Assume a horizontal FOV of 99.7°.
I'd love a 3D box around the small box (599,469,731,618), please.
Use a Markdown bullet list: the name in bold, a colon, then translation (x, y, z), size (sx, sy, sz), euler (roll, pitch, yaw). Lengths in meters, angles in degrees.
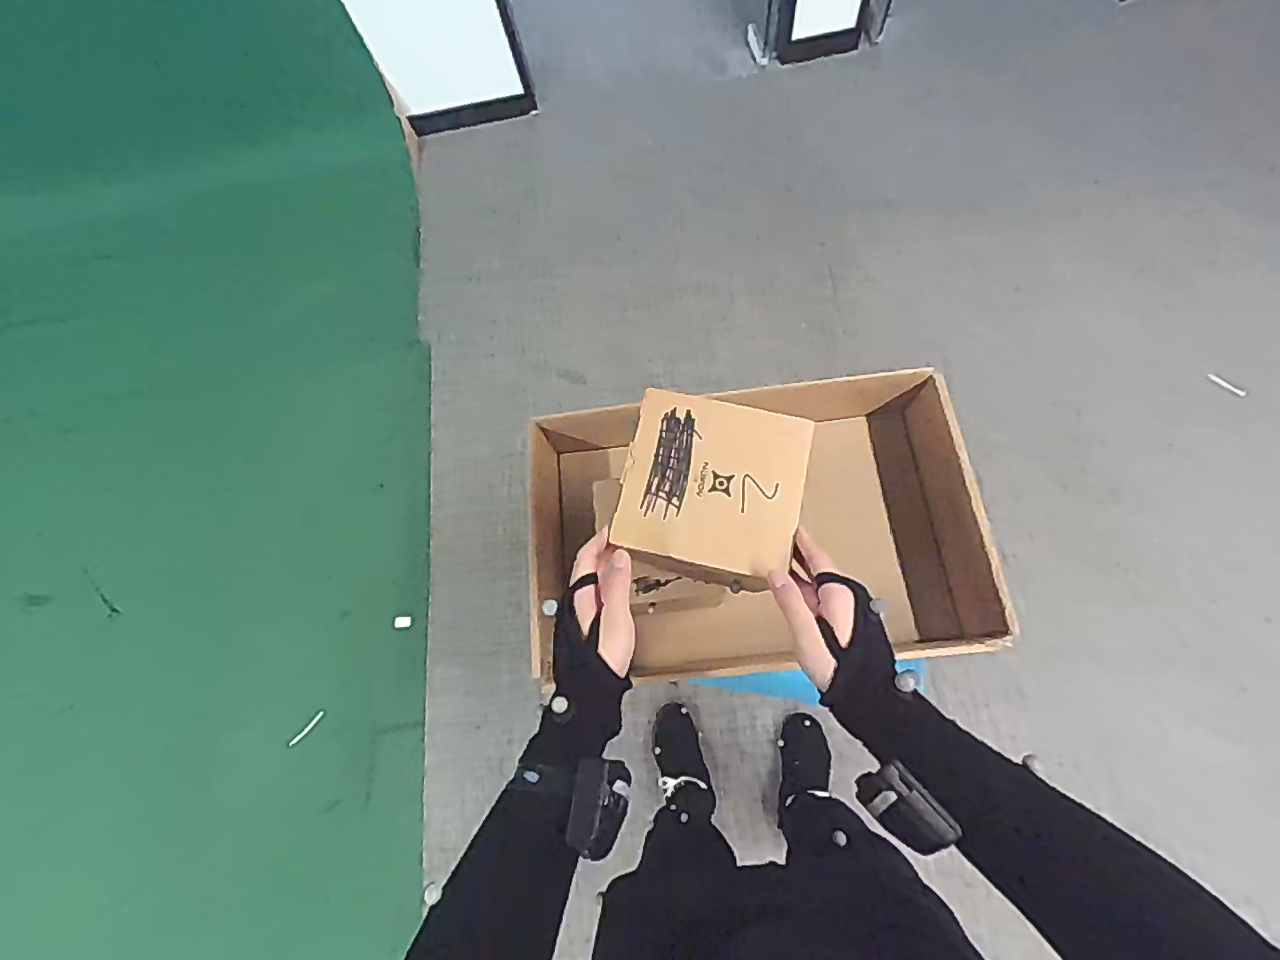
- **small box**: translation (0.037, 0.101, 0.799), size (0.168, 0.176, 0.179), euler (-7, 70, 5)
